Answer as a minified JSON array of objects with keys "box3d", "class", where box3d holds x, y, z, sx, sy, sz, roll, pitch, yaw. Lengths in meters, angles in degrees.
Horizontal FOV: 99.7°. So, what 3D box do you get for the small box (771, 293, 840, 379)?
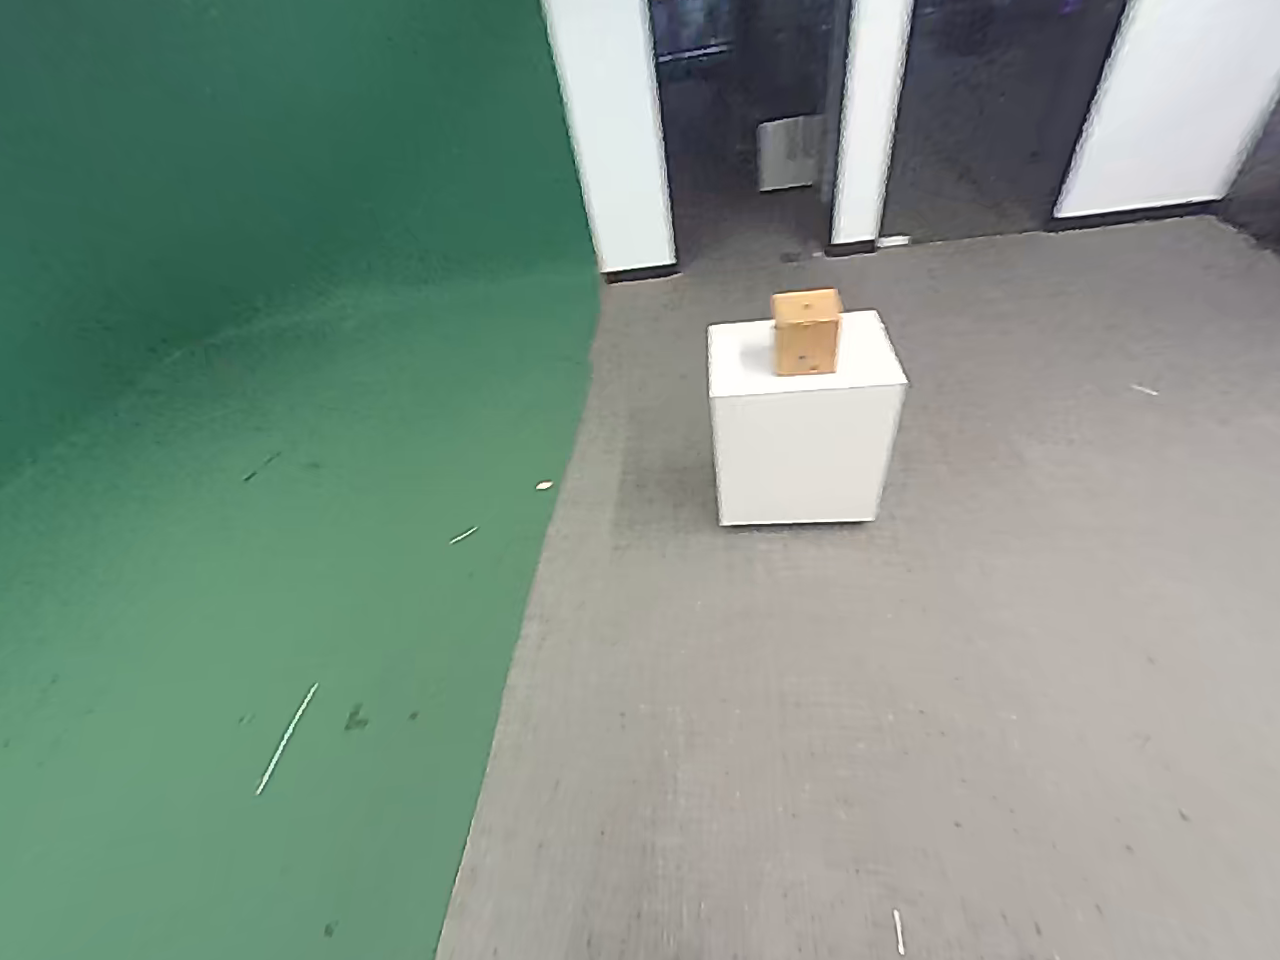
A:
[{"box3d":[0.457,-0.403,1.520,0.168,0.176,0.179,-2,43,11],"class":"small box"}]
